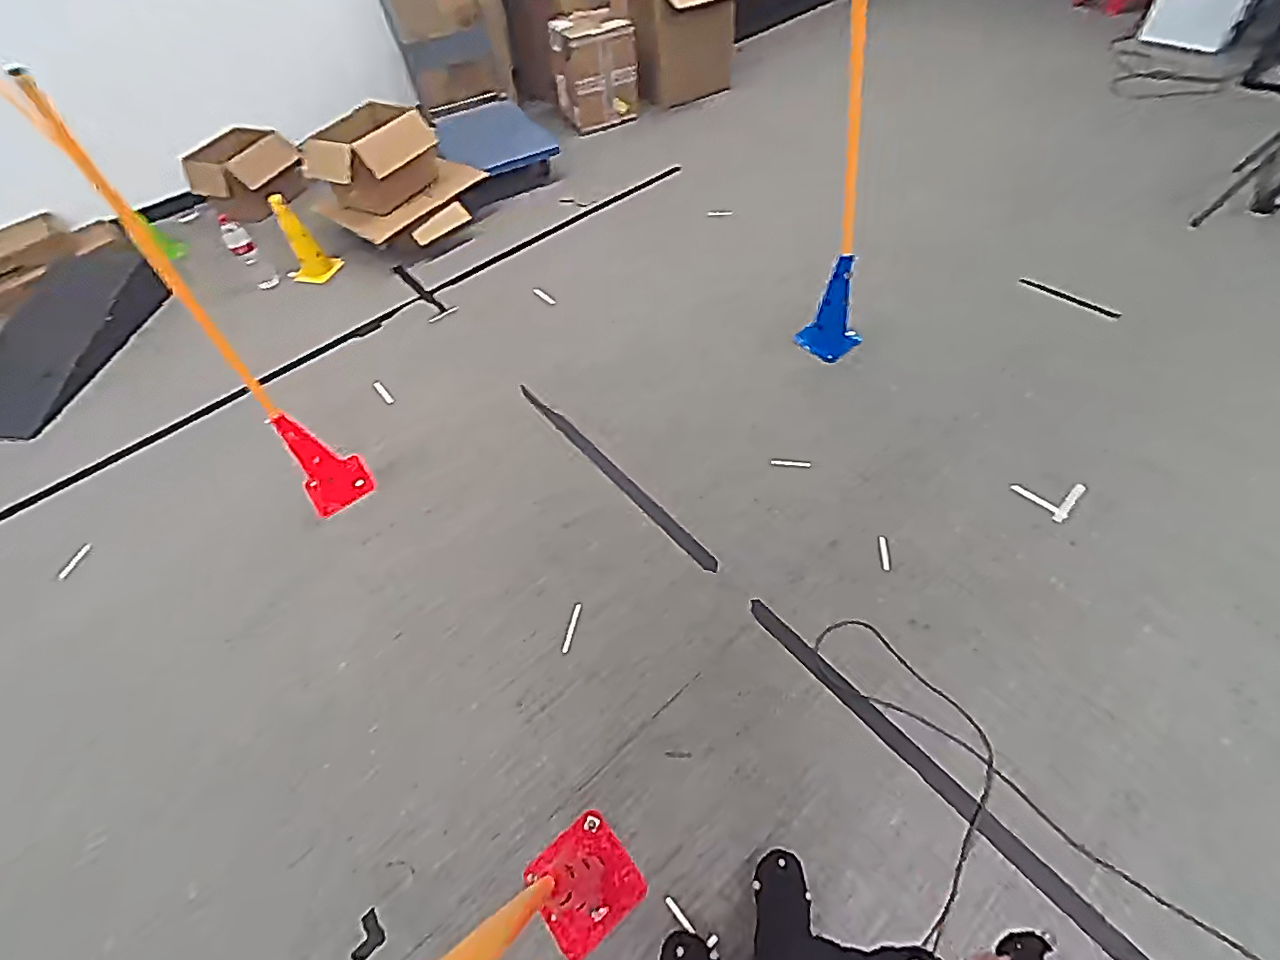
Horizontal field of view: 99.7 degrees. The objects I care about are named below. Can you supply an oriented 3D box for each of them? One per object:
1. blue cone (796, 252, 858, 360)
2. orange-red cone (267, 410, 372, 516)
[{"bbox_3d":[0.703,-0.642,1.943,0.193,0.380,0.192,-34,58,-17],"label":"blue cone"},{"bbox_3d":[-1.040,-0.085,1.690,0.198,0.360,0.199,-33,57,-18],"label":"orange-red cone"}]
